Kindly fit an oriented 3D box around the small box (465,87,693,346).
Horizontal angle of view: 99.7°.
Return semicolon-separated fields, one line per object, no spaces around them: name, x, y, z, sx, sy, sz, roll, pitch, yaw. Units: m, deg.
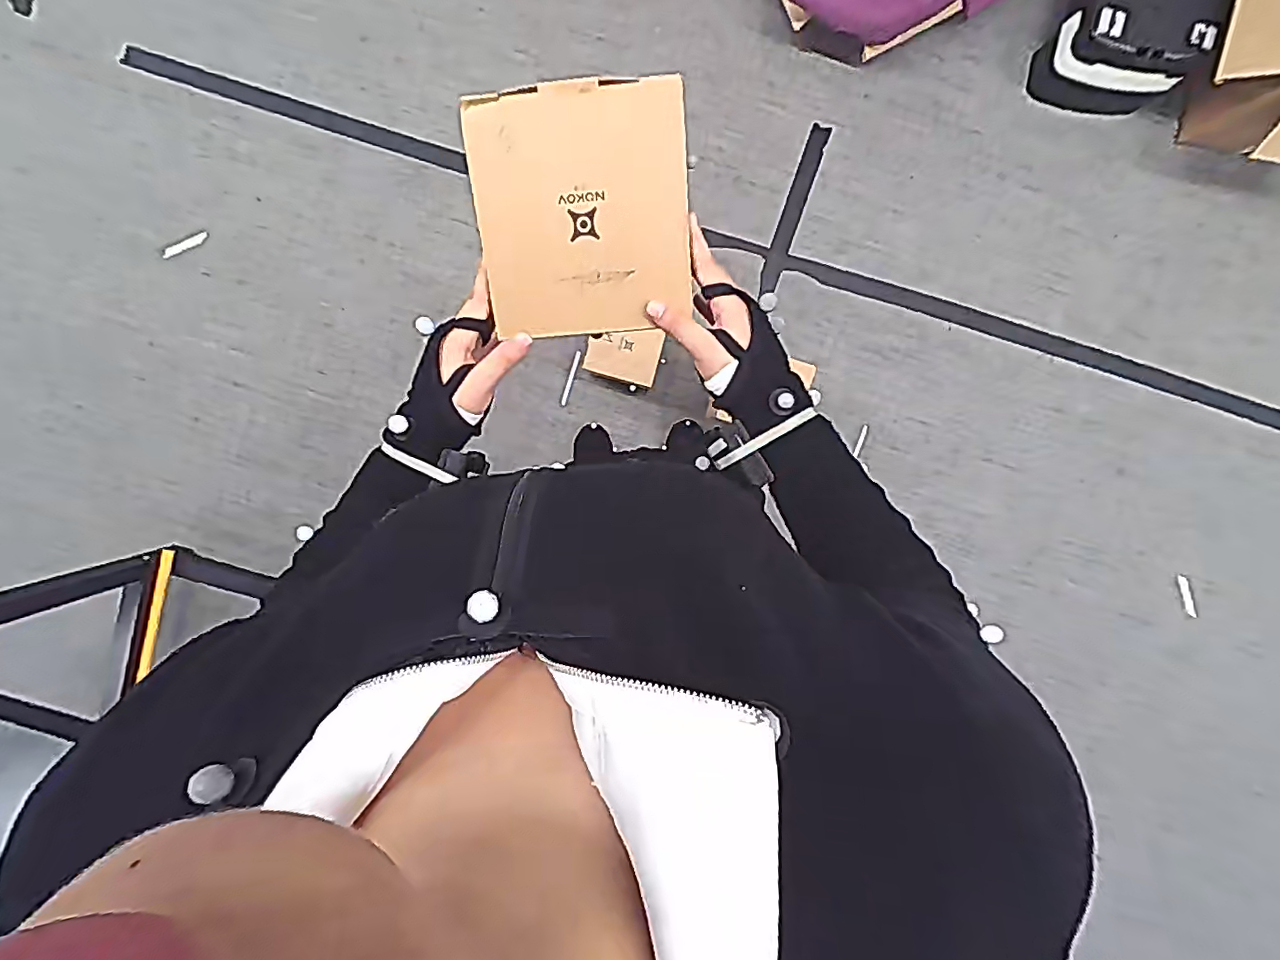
small box;-0.042;-0.225;0.494;0.168;0.176;0.179;-4;111;3

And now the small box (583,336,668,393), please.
small box;-0.032;-0.322;1.372;0.179;0.176;0.168;16;97;0

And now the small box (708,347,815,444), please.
small box;0.263;-0.186;1.218;0.179;0.176;0.168;17;97;-2
